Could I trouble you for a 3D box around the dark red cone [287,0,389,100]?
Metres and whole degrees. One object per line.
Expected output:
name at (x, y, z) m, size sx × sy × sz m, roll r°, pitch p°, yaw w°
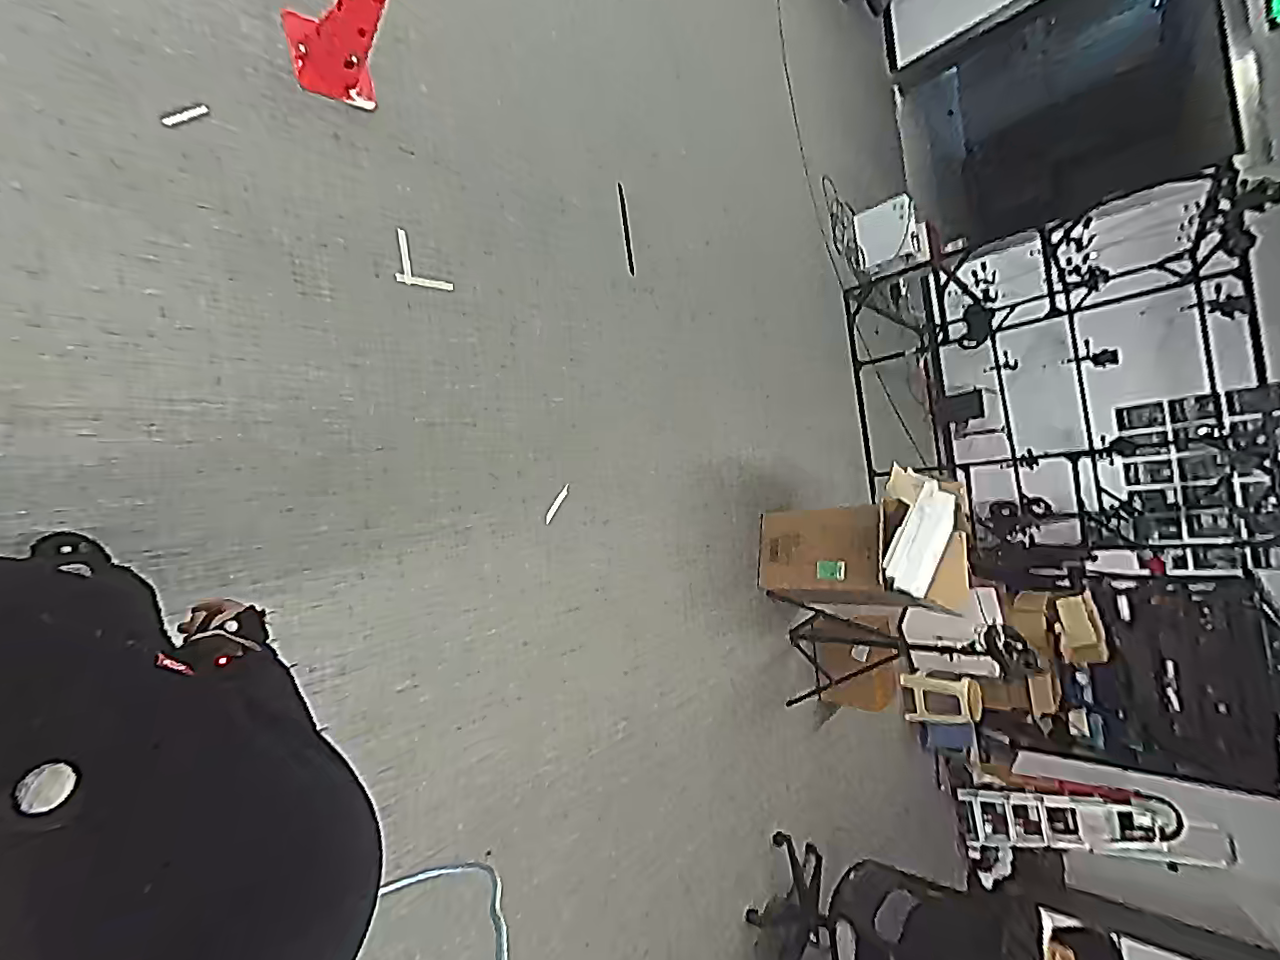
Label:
dark red cone at (-0.668, -1.123, 1.289) m, size 0.201 × 0.394 × 0.202 m, roll -16°, pitch 95°, yaw -47°
